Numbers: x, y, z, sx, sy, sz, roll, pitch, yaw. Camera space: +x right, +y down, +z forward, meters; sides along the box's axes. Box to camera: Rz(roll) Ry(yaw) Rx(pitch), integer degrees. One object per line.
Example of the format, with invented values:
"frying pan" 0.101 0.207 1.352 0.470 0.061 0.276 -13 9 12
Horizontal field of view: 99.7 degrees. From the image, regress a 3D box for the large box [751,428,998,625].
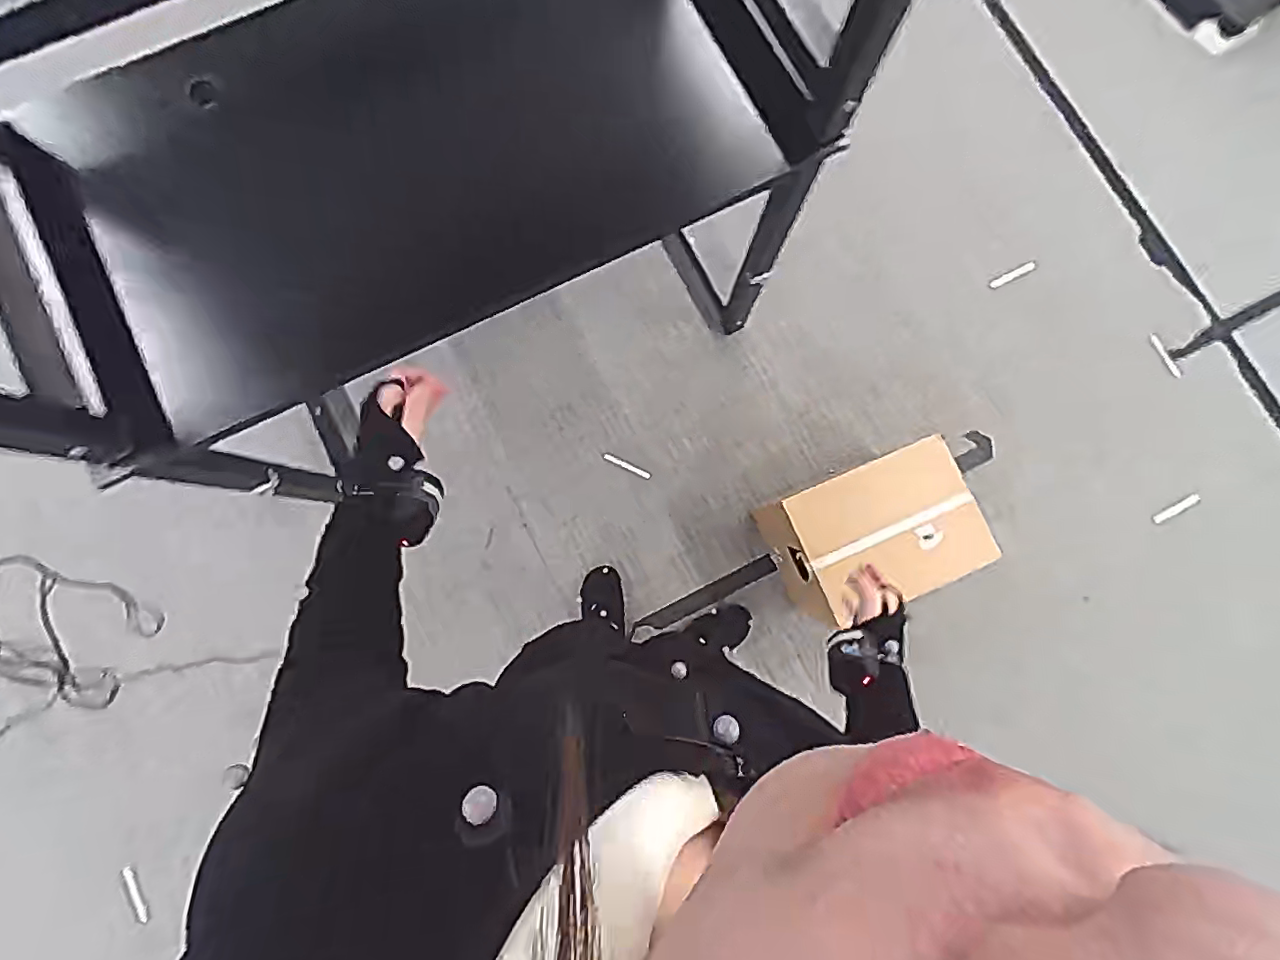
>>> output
"large box" 0.548 0.117 1.341 0.408 0.320 0.320 -23 85 -5
